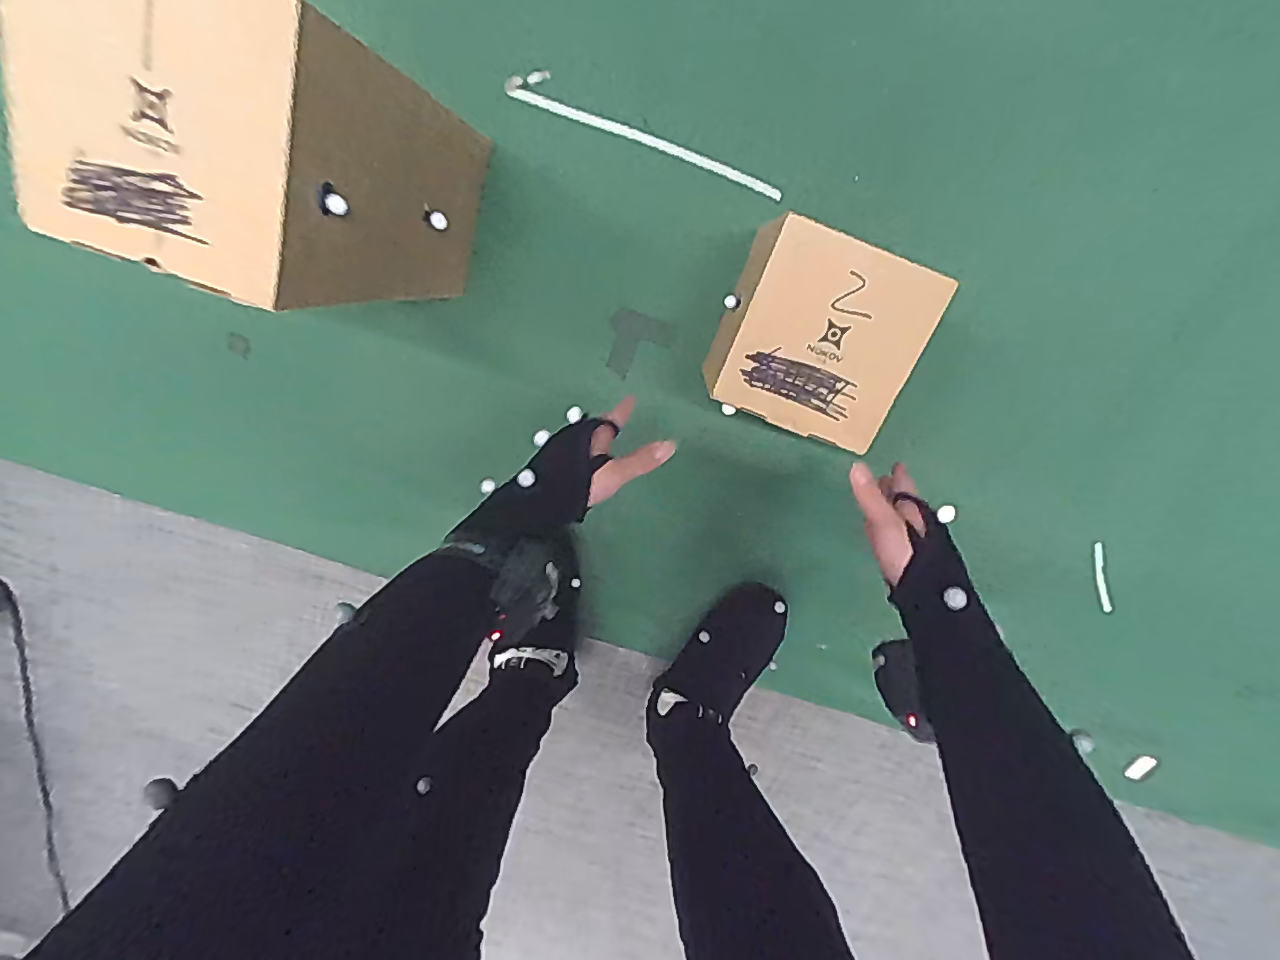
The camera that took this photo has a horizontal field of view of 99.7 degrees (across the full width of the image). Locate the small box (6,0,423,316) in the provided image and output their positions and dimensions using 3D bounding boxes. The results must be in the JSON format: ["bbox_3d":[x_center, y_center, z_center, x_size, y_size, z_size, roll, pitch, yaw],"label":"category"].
[{"bbox_3d":[-0.280,-0.237,0.393,0.168,0.176,0.179,19,110,-4],"label":"small box"}]

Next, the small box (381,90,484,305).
[{"bbox_3d":[-0.272,-0.295,0.546,0.168,0.176,0.179,19,112,-4],"label":"small box"}]
